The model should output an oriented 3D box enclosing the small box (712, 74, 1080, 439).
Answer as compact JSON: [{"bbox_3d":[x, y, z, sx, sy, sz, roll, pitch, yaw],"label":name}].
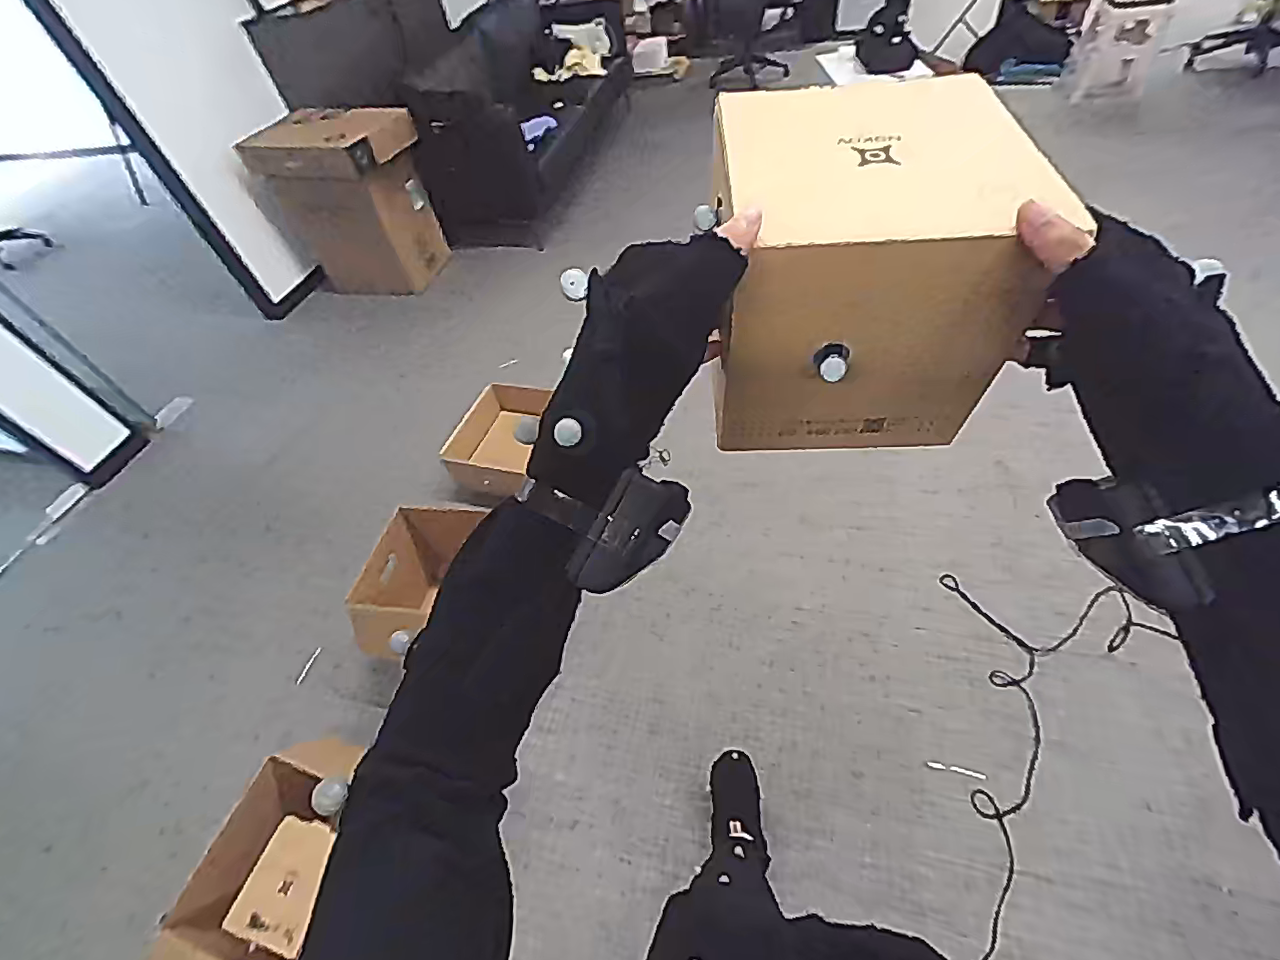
[{"bbox_3d":[0.136,-0.140,0.372,0.168,0.176,0.179,-1,56,4],"label":"small box"}]

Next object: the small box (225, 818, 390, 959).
[{"bbox_3d":[-0.605,0.775,1.017,0.168,0.176,0.179,6,48,18],"label":"small box"}]
